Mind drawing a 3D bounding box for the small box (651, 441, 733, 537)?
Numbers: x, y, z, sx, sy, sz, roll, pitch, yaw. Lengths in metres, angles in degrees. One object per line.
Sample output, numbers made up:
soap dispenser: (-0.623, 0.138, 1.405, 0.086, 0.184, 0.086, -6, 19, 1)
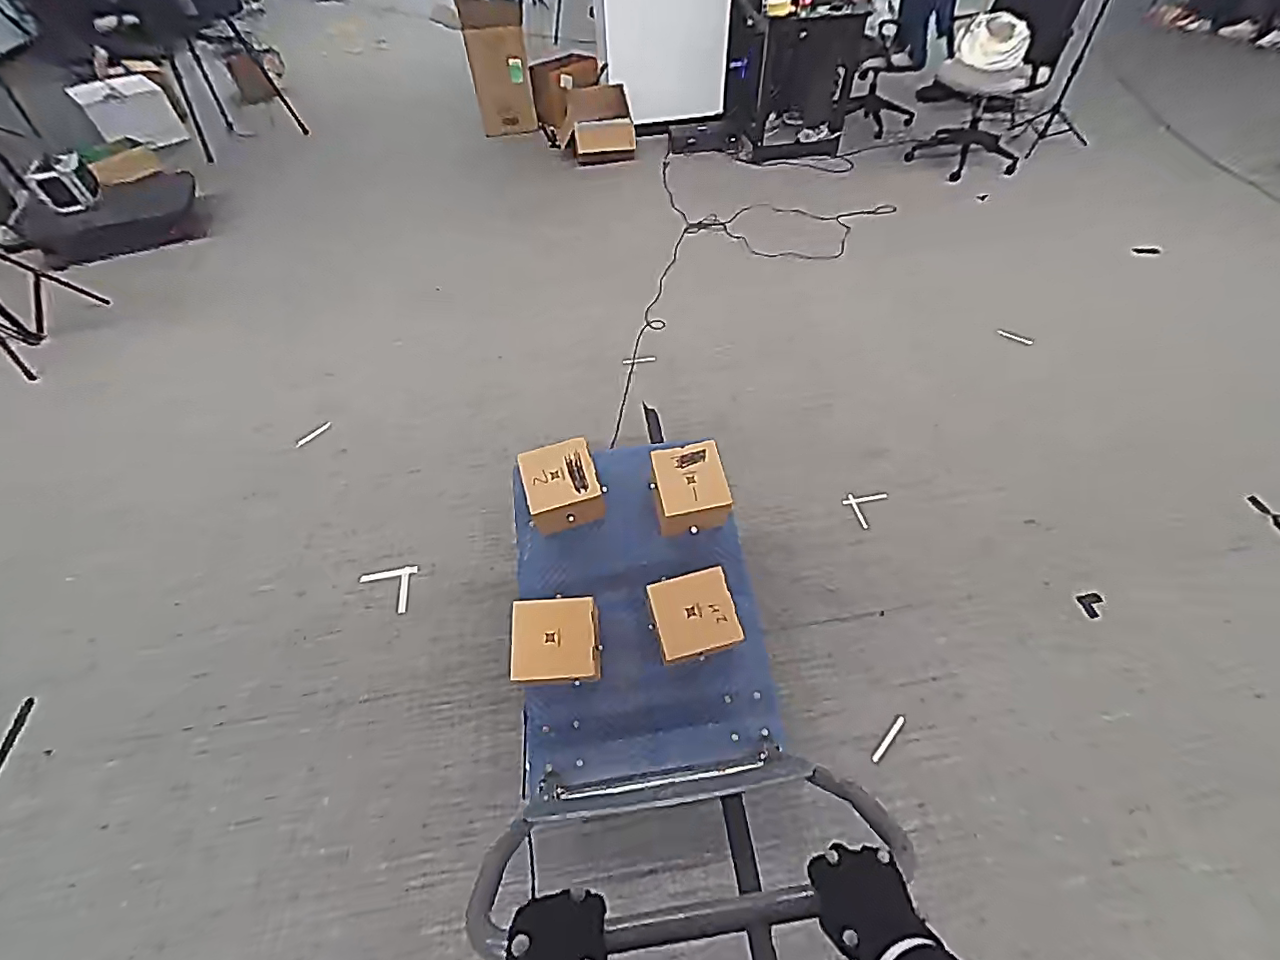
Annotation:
small box: (0.123, 0.027, 1.371, 0.168, 0.176, 0.179, -12, 67, -4)

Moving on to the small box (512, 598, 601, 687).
small box: (-0.182, 0.370, 1.222, 0.179, 0.176, 0.168, -3, 65, -2)

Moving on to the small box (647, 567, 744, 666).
small box: (0.121, 0.318, 1.240, 0.179, 0.176, 0.168, -14, 67, -5)
